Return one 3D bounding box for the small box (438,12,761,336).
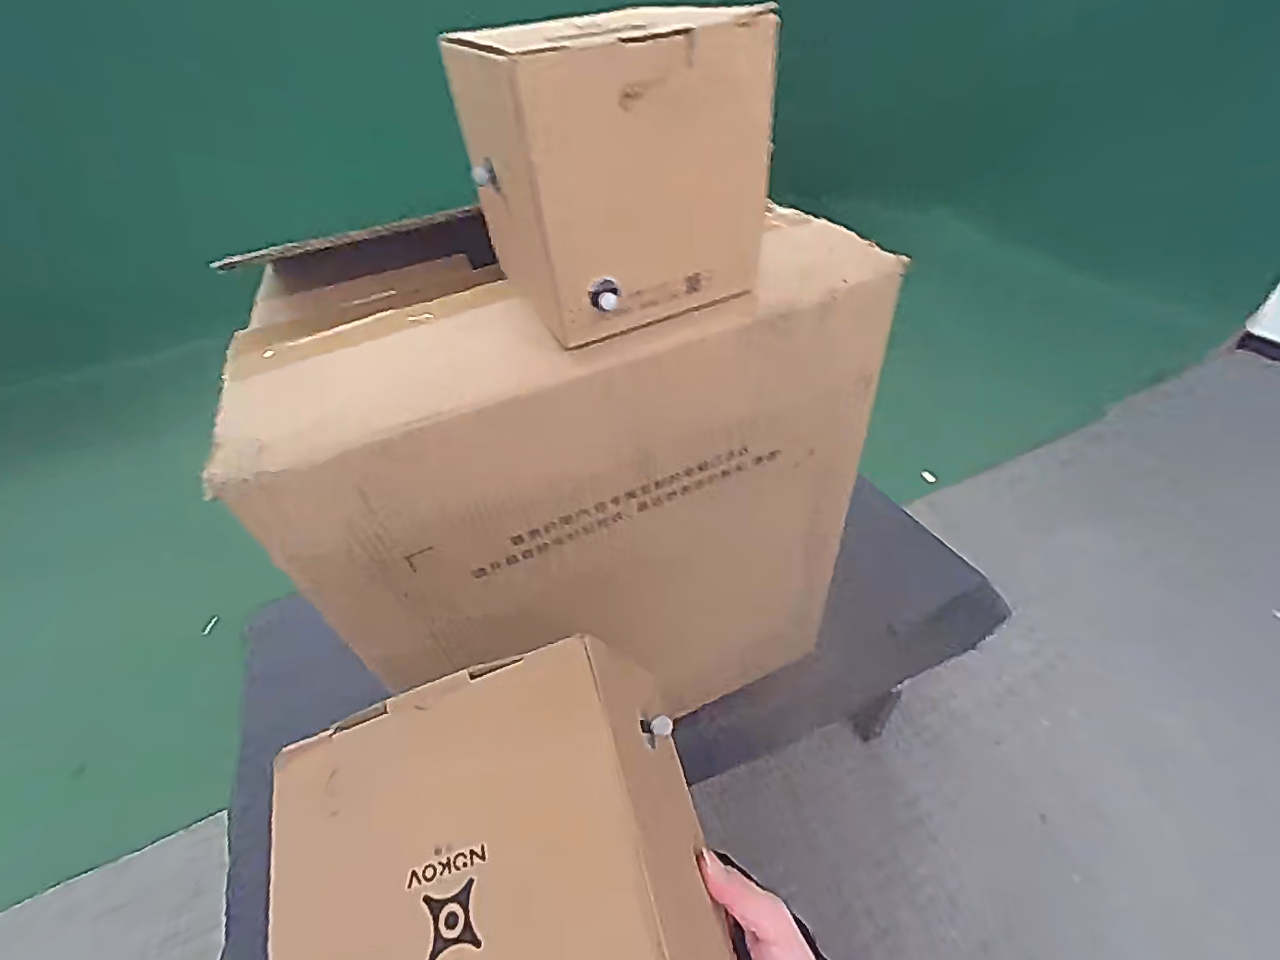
[{"bbox_3d":[-0.028,-0.226,0.404,0.168,0.176,0.179,-22,45,-15],"label":"small box"}]
